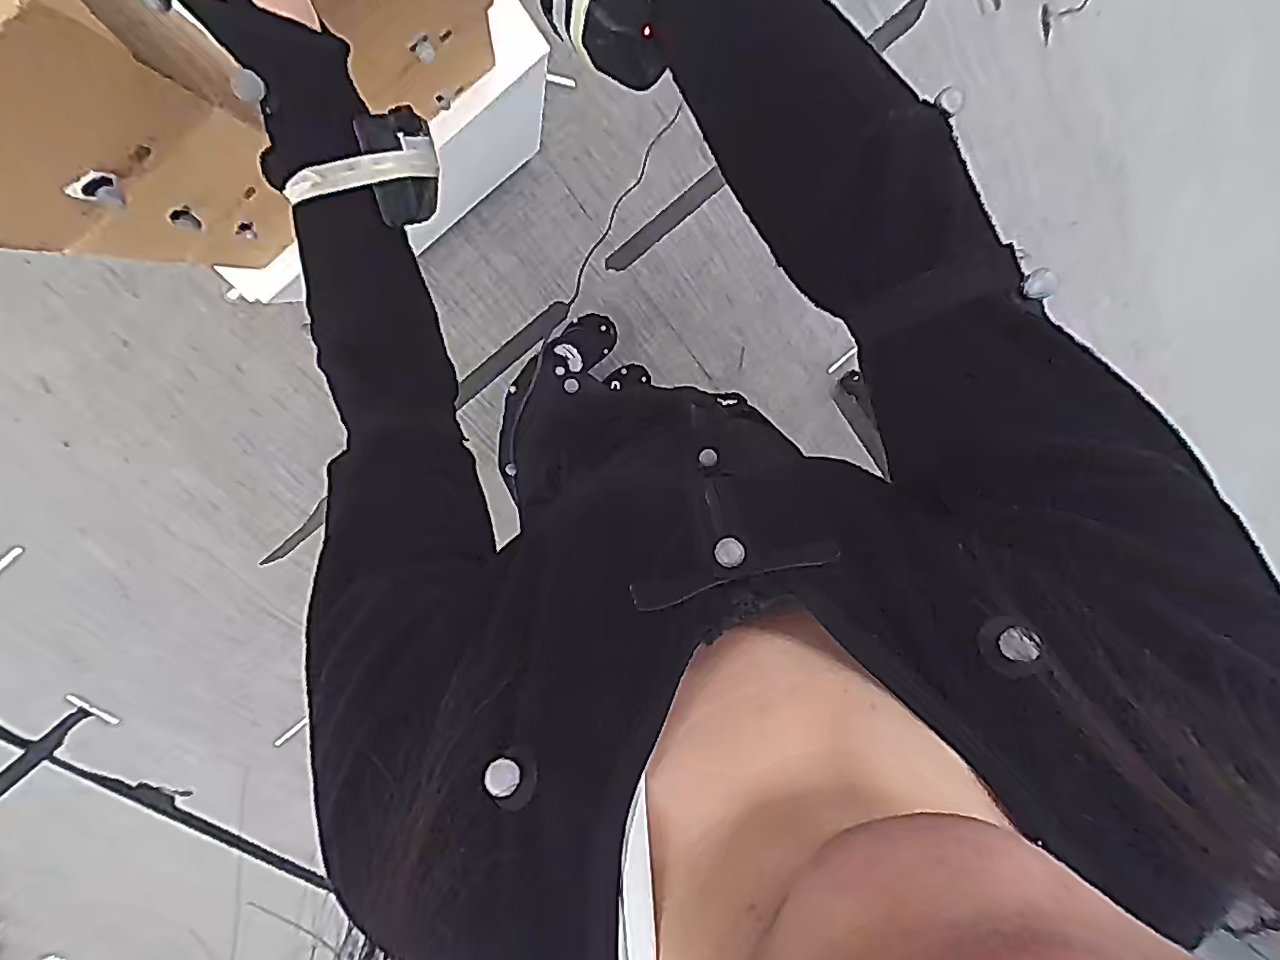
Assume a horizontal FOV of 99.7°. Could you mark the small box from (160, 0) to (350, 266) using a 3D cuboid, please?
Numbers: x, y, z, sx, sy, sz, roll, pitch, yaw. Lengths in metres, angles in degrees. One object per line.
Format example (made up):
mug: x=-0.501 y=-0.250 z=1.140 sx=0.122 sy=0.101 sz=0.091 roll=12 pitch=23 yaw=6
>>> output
small box: x=-0.467 y=-0.359 z=0.596 sx=0.168 sy=0.176 sz=0.179 roll=-39 pitch=111 yaw=4

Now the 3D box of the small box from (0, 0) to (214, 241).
small box: x=-0.403 y=-0.256 z=0.295 sx=0.168 sy=0.176 sz=0.179 roll=-40 pitch=112 yaw=5

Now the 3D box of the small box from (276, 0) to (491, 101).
small box: x=-0.240 y=-0.456 z=0.432 sx=0.168 sy=0.176 sz=0.179 roll=-37 pitch=113 yaw=4

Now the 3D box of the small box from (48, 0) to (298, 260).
small box: x=-0.434 y=-0.306 z=0.447 sx=0.168 sy=0.176 sz=0.179 roll=-40 pitch=111 yaw=4
